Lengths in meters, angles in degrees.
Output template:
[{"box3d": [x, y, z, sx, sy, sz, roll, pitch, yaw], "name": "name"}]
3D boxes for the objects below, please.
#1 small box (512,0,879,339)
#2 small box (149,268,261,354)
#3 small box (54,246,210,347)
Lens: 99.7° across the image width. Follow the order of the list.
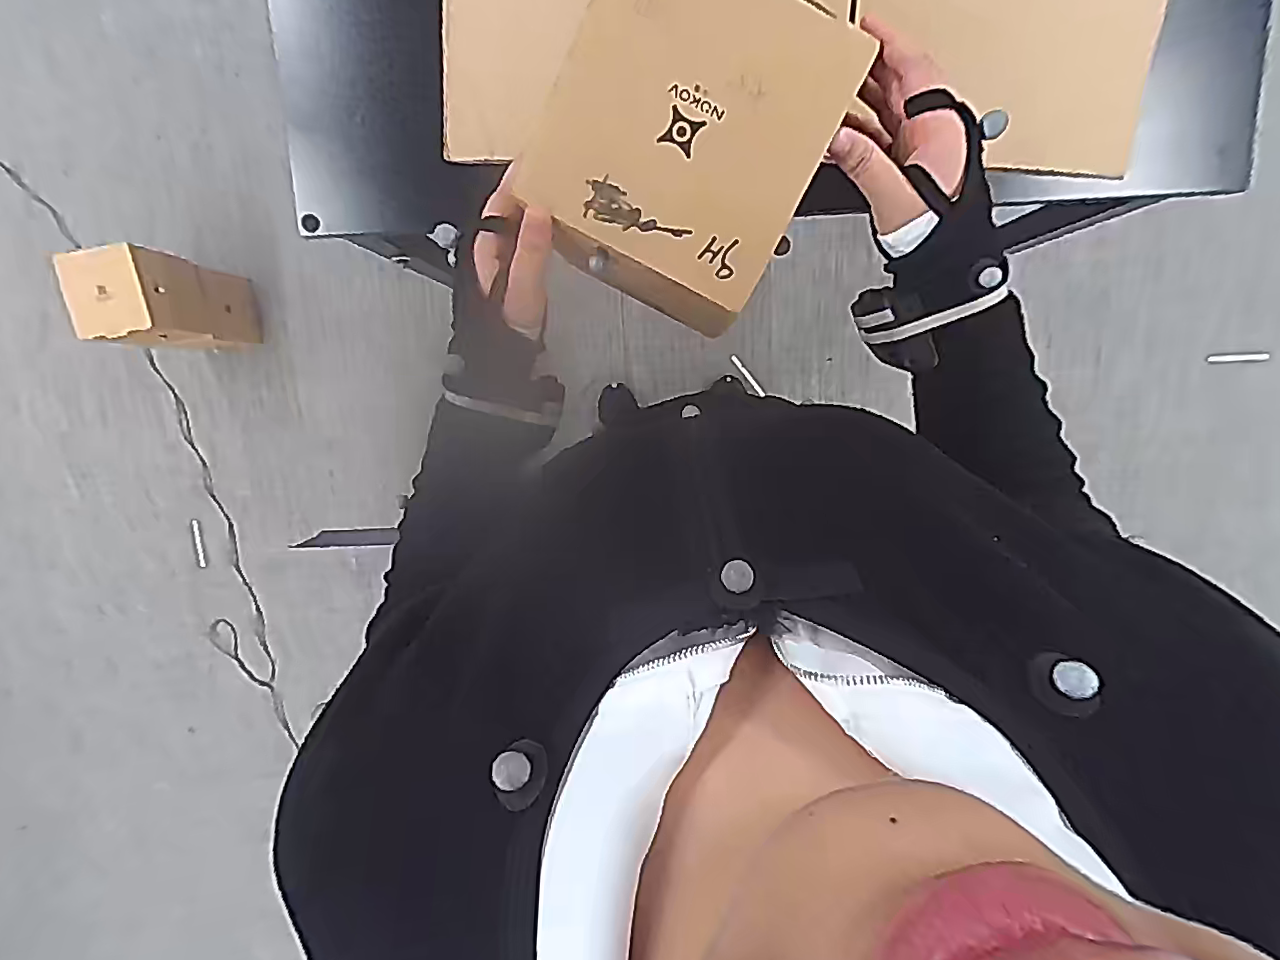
[{"box3d": [0.033, -0.227, 0.403, 0.168, 0.176, 0.179, 28, 98, 0], "name": "small box"}, {"box3d": [-1.104, -0.419, 1.360, 0.168, 0.176, 0.179, -6, 100, 2], "name": "small box"}, {"box3d": [-1.109, -0.396, 1.199, 0.168, 0.176, 0.179, -9, 99, 2], "name": "small box"}]
